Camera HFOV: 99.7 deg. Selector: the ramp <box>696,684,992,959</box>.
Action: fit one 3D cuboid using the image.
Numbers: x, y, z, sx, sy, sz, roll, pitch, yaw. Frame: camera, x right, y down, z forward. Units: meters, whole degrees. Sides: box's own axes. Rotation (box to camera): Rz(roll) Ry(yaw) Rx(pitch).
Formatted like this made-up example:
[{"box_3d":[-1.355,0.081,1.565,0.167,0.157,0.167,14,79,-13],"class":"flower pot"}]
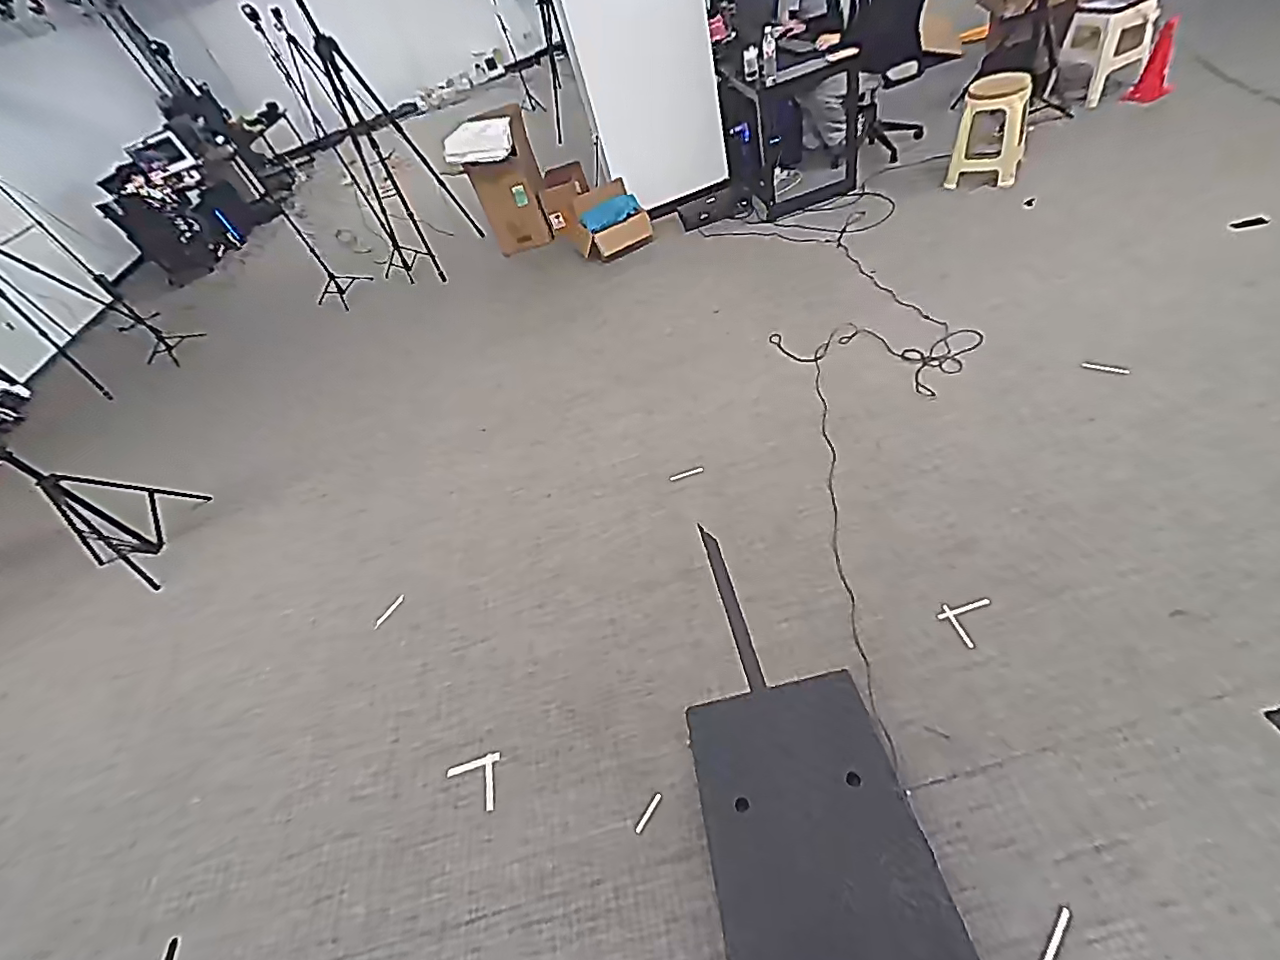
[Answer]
[{"box_3d":[0.440,0.939,1.171,0.509,0.206,0.991,-20,44,5],"class":"ramp"}]
